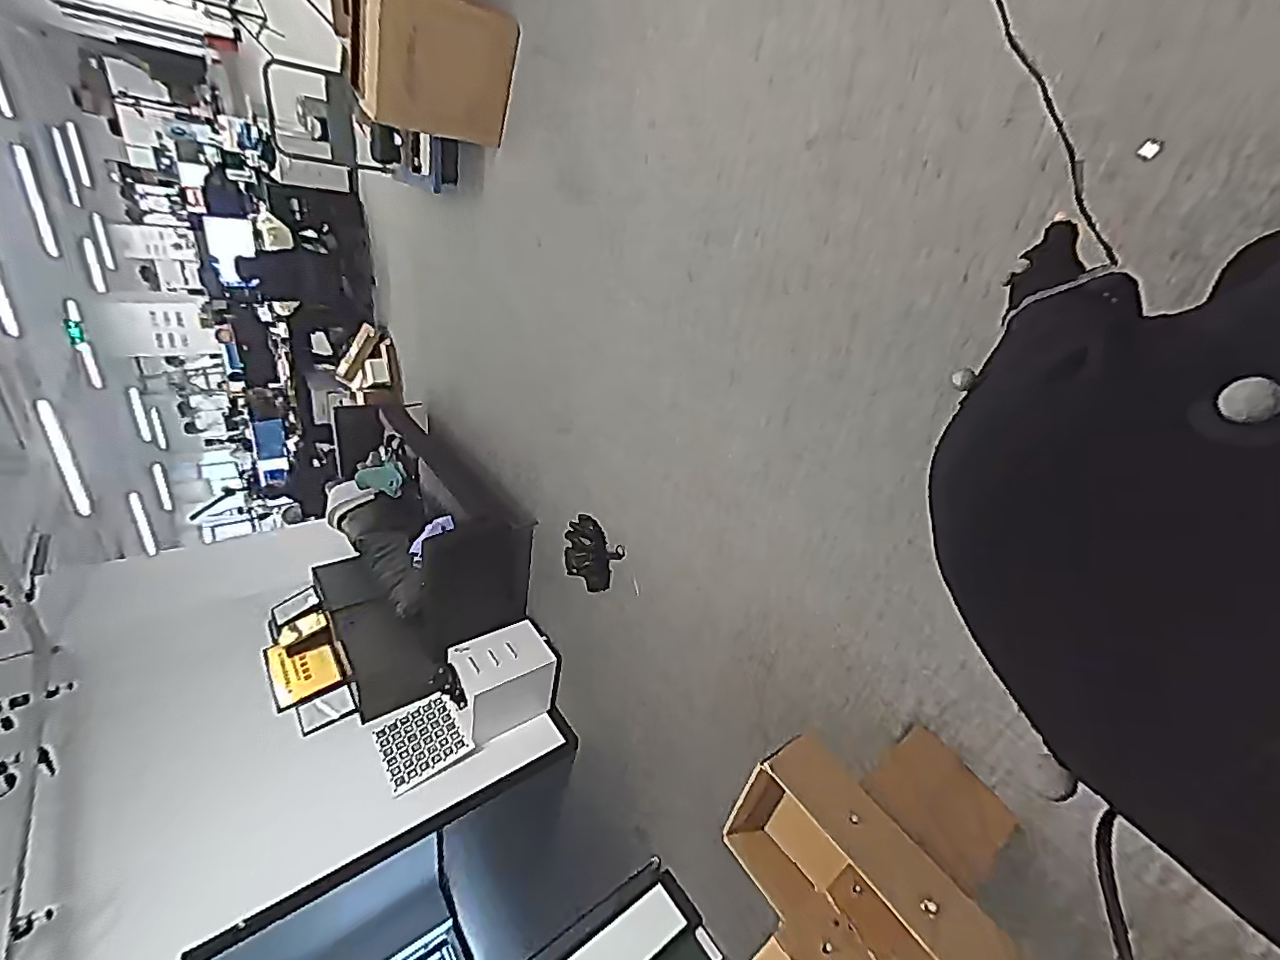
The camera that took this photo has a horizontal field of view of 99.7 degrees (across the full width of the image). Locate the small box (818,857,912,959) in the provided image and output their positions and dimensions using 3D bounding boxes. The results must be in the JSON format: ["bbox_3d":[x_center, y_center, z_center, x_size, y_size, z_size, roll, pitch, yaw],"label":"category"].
[{"bbox_3d":[0.526,1.068,1.314,0.168,0.176,0.179,45,135,39],"label":"small box"}]

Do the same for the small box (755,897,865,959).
[{"bbox_3d":[0.391,1.104,1.227,0.168,0.176,0.179,45,133,40],"label":"small box"}]
